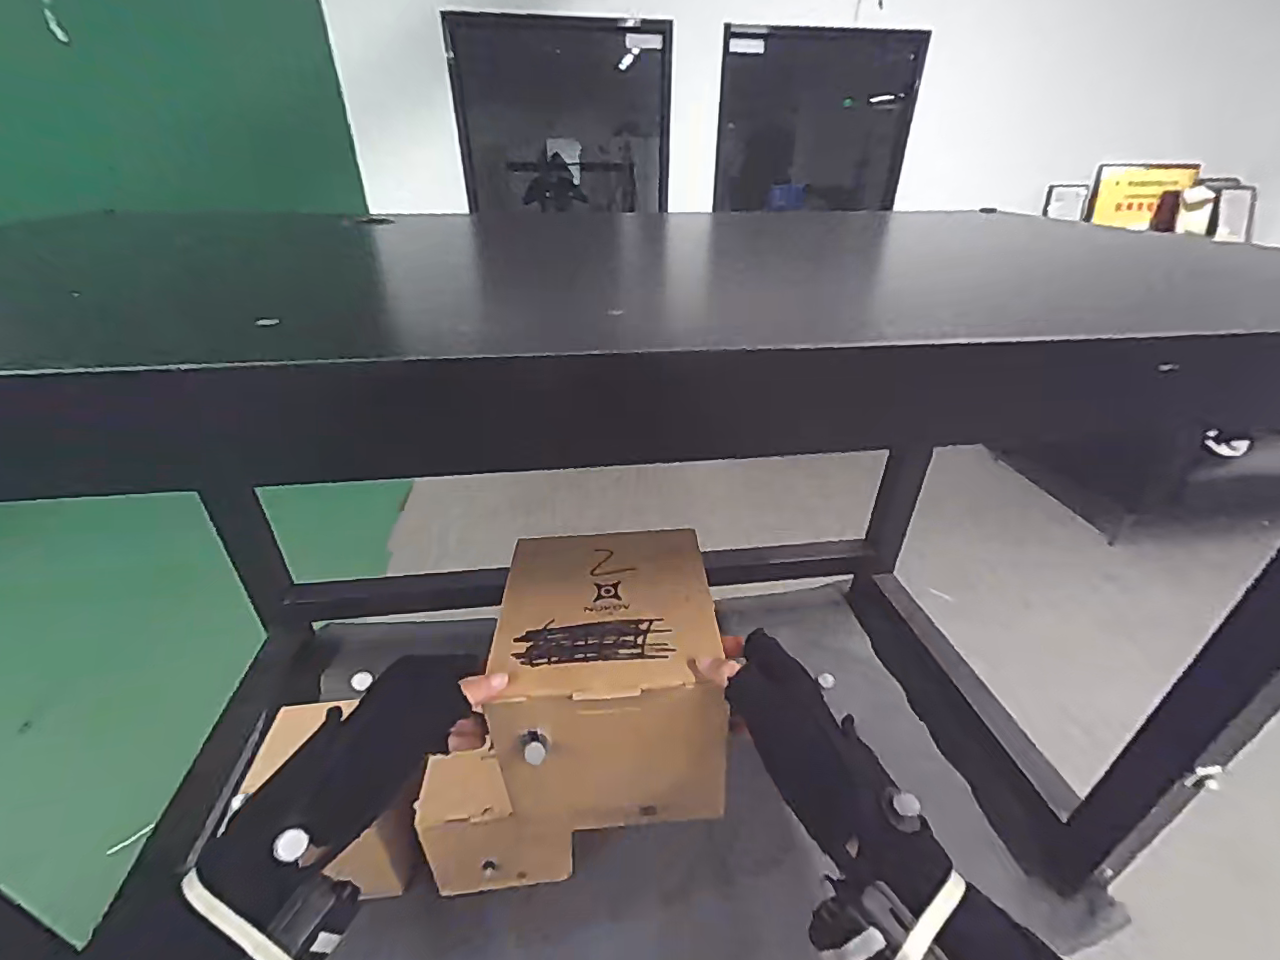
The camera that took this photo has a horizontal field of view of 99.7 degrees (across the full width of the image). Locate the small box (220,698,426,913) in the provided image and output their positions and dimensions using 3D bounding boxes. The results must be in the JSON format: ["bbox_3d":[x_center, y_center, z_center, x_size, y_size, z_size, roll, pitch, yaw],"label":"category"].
[{"bbox_3d":[-0.389,0.417,0.705,0.168,0.176,0.179,-3,30,-7],"label":"small box"}]

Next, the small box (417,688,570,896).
[{"bbox_3d":[-0.182,0.411,0.725,0.168,0.176,0.179,-3,31,-7],"label":"small box"}]
